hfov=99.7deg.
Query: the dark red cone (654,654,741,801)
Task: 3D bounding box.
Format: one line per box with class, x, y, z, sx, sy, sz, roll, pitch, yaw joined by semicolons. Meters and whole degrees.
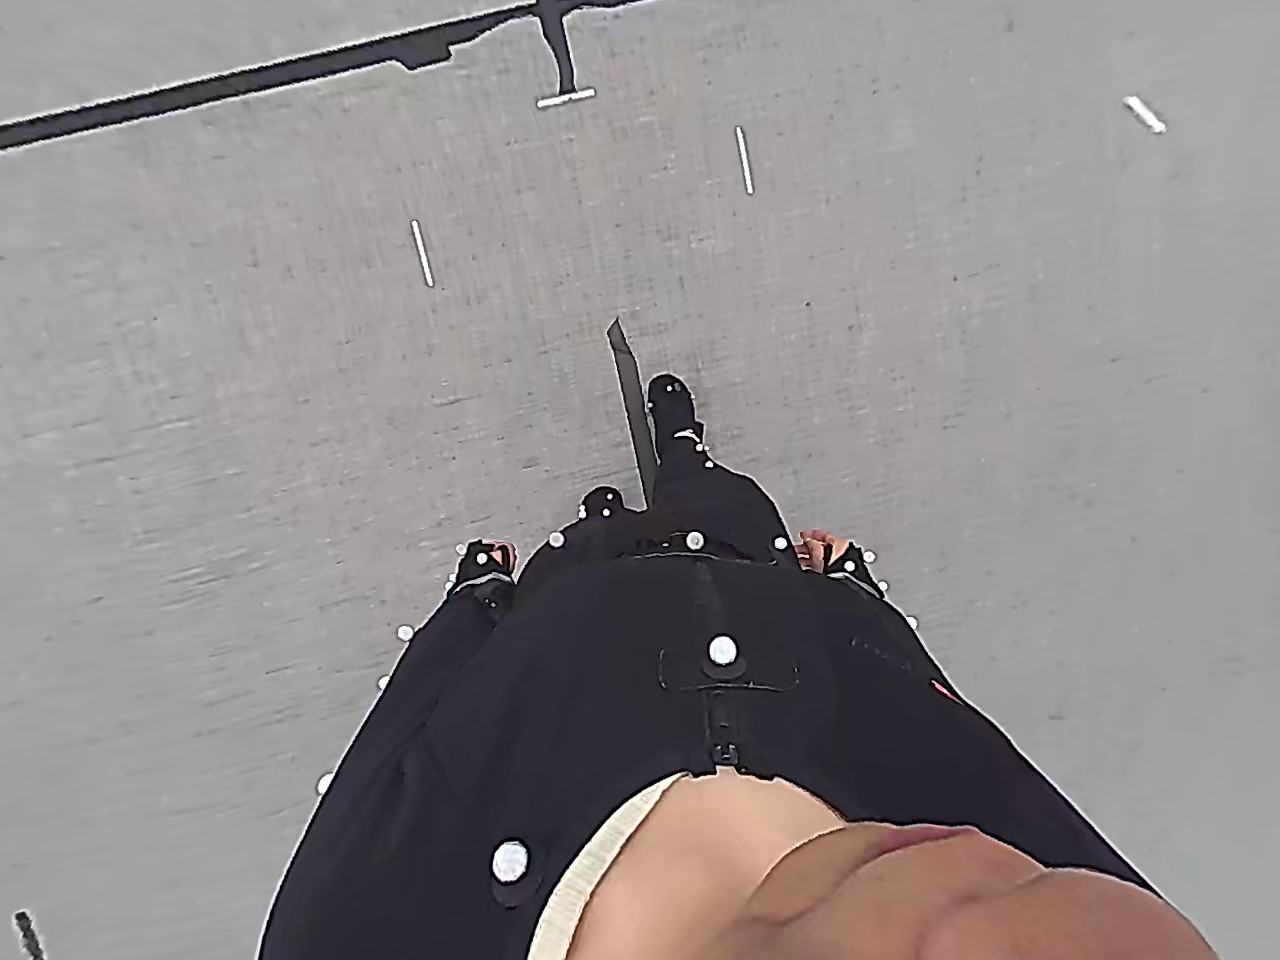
dark red cone;0.156;0.578;1.240;0.201;0.394;0.202;-14;97;-1
